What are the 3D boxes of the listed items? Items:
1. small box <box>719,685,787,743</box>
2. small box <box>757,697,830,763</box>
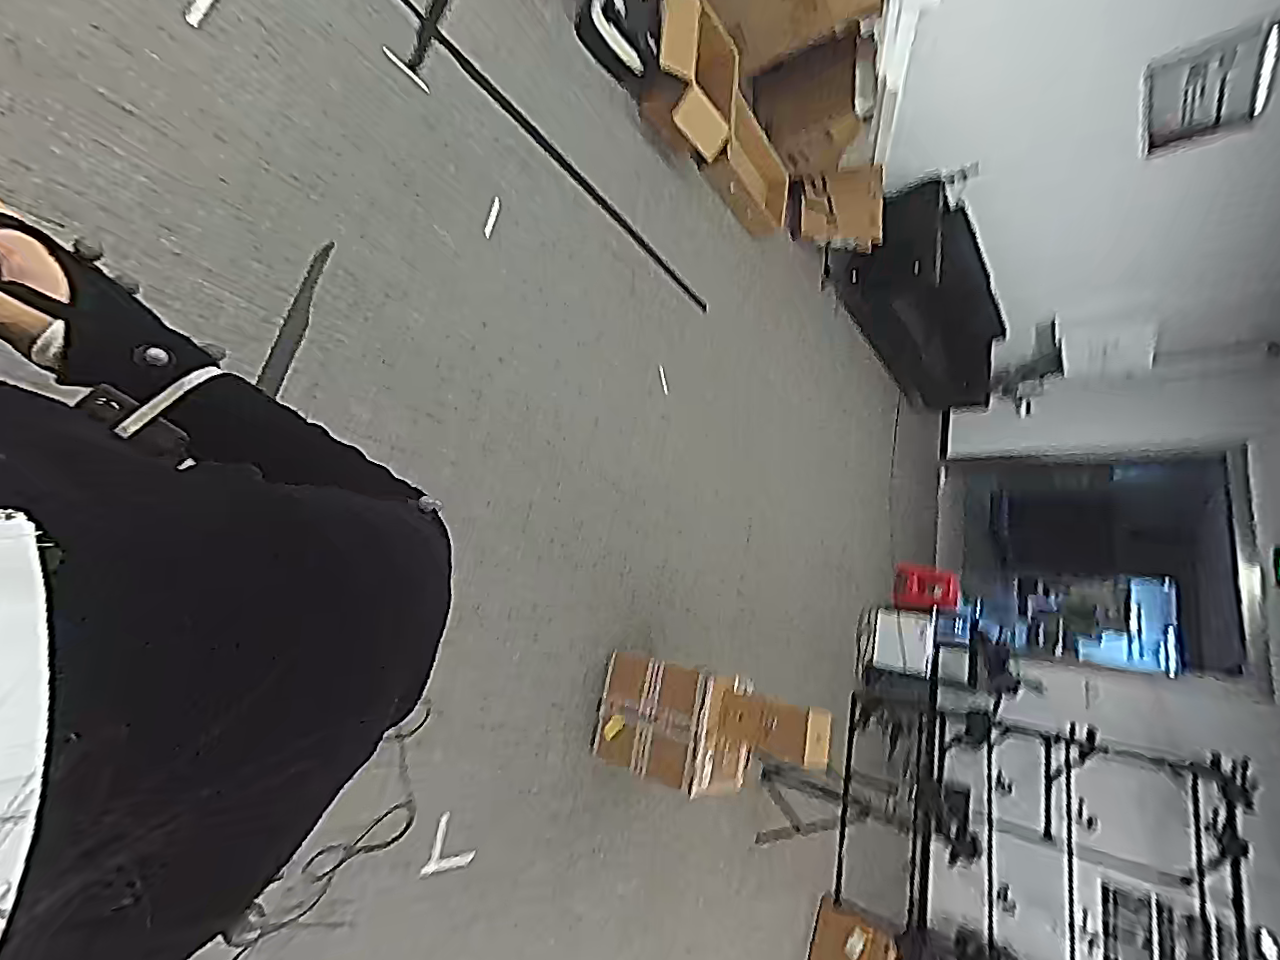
[{"bbox_3d":[0.401,0.837,1.926,0.179,0.176,0.168,29,65,-42],"label":"small box"},{"bbox_3d":[0.515,0.834,1.809,0.179,0.176,0.168,29,64,-41],"label":"small box"}]
